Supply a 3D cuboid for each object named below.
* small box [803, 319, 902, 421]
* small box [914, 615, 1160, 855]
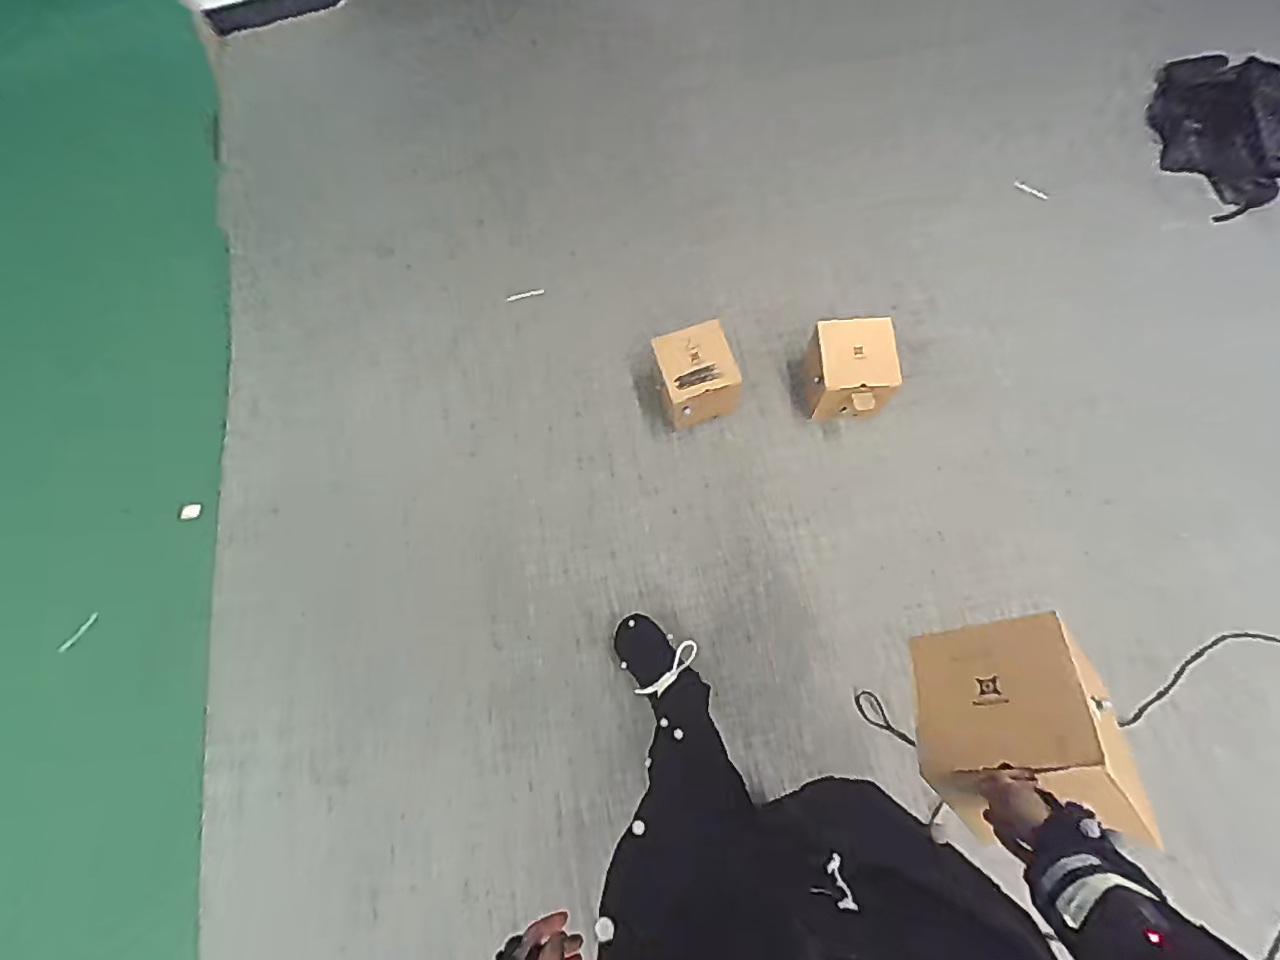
[{"bbox_3d":[0.487,-0.253,1.267,0.168,0.176,0.179,-2,72,4],"label":"small box"},{"bbox_3d":[0.429,0.284,0.603,0.168,0.176,0.179,-24,25,35],"label":"small box"}]
